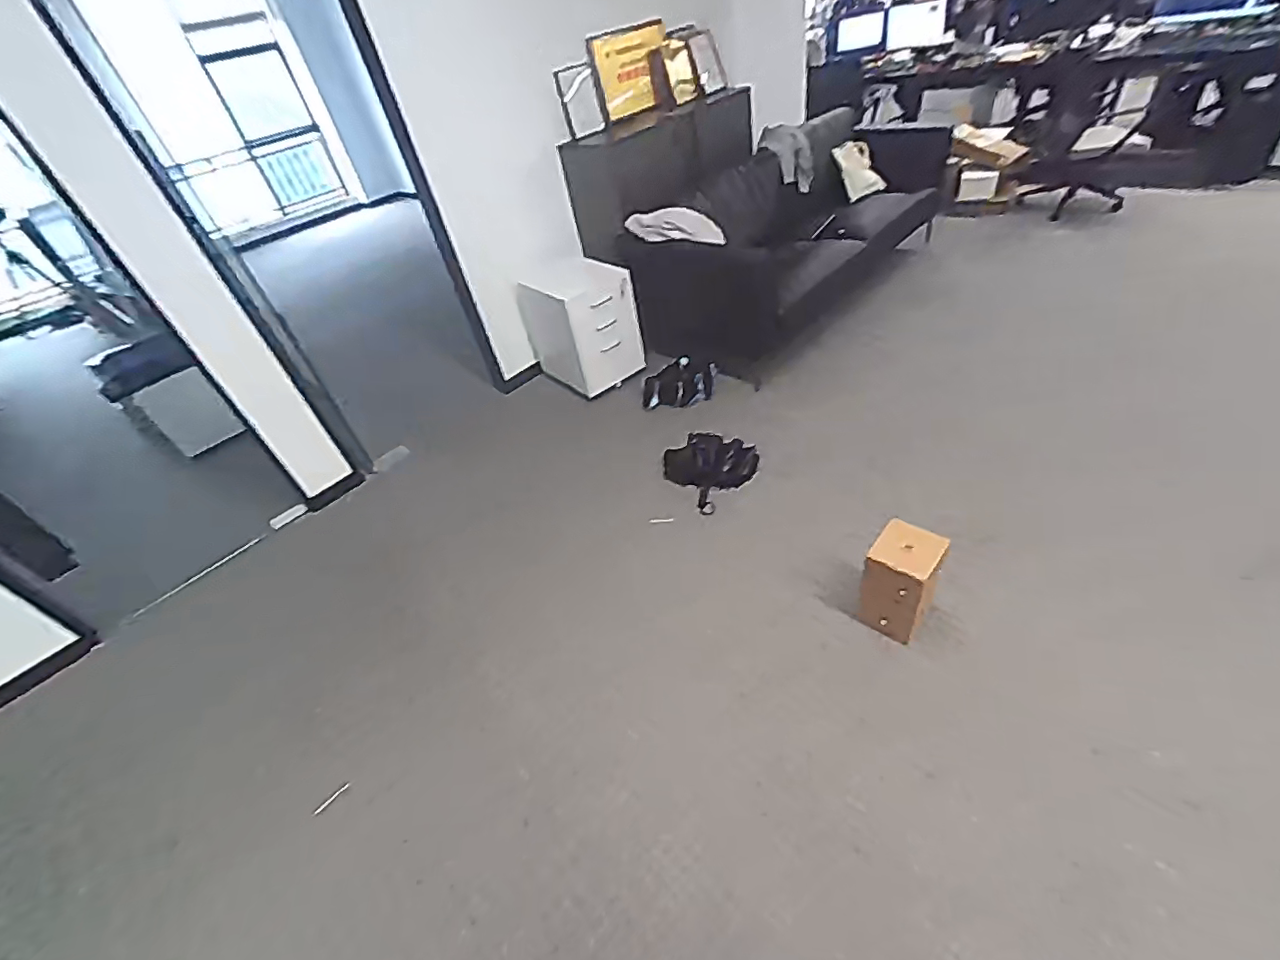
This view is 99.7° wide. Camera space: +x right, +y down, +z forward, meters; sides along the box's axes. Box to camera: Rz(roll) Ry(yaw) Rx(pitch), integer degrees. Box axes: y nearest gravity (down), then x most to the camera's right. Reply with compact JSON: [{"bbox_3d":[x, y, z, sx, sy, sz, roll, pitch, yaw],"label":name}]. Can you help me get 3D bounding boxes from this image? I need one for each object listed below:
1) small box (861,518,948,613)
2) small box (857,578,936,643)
[{"bbox_3d":[0.756,0.250,1.560,0.168,0.176,0.179,26,54,35],"label":"small box"},{"bbox_3d":[0.786,0.367,1.669,0.168,0.176,0.179,25,55,35],"label":"small box"}]
